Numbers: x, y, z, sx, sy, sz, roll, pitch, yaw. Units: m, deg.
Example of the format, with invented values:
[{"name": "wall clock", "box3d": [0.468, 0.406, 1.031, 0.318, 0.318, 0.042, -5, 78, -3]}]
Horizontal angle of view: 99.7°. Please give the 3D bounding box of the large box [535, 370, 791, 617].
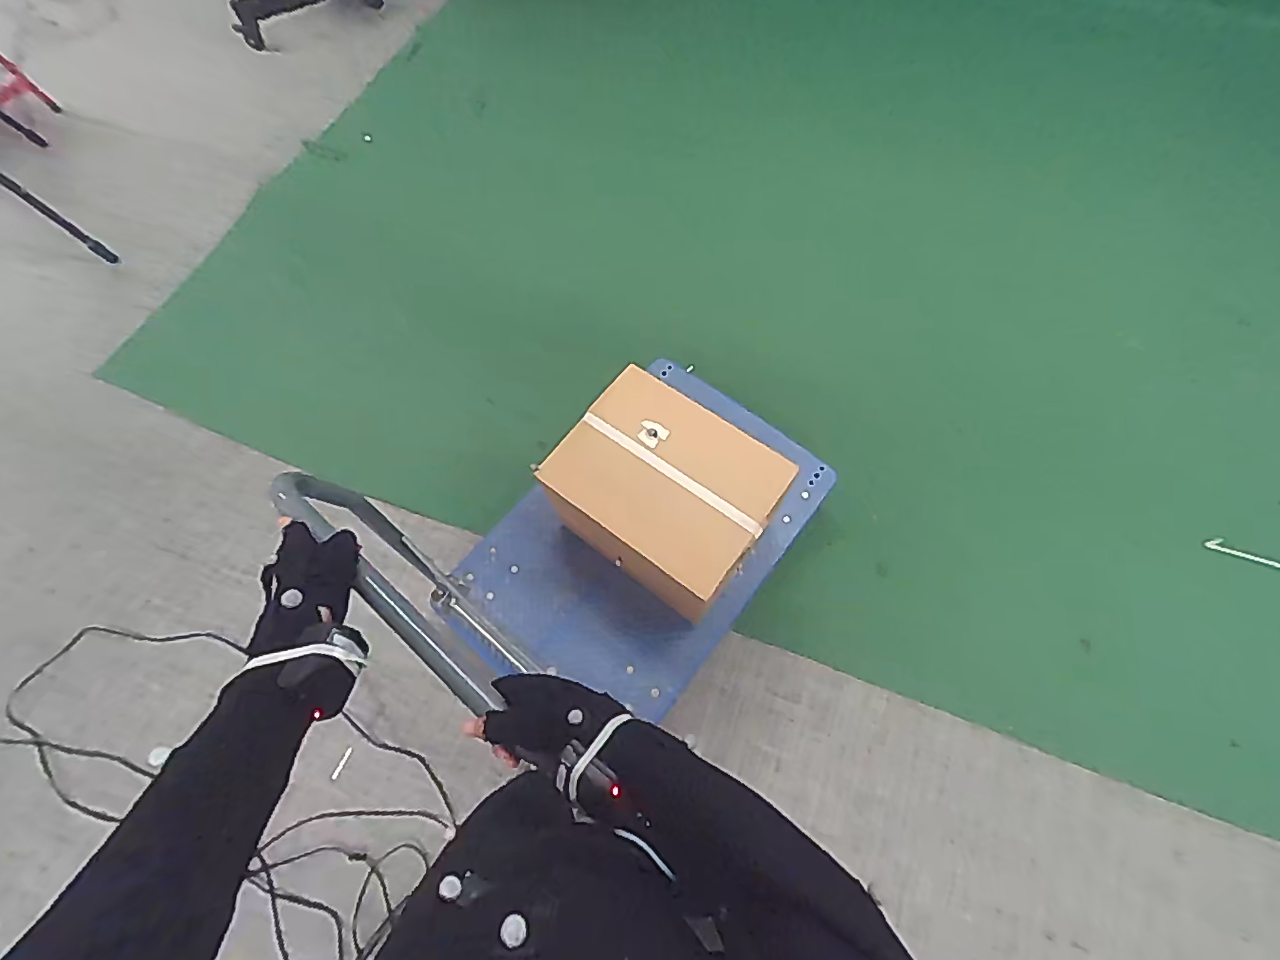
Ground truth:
[{"name": "large box", "box3d": [0.051, 0.042, 1.173, 0.408, 0.320, 0.320, 34, 73, 16]}]
